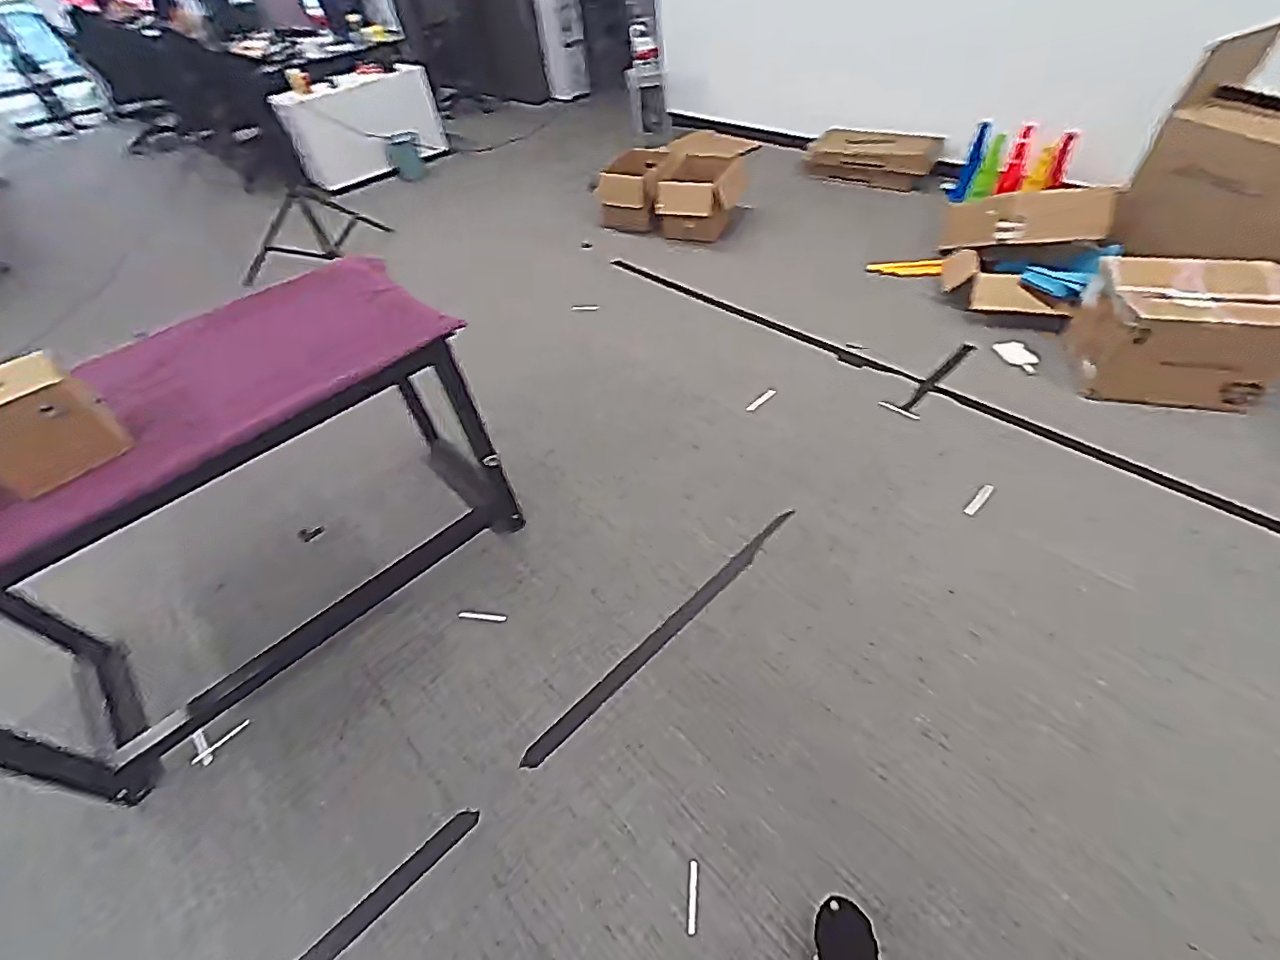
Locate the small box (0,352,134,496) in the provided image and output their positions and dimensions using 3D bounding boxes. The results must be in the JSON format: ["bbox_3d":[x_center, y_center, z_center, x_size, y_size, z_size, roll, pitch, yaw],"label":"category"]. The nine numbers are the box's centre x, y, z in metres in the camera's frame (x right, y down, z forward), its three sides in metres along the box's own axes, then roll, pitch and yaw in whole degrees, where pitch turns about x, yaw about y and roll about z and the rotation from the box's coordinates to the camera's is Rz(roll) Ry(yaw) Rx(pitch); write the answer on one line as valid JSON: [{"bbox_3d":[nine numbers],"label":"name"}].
[{"bbox_3d":[-1.102,-0.104,1.008,0.168,0.176,0.179,31,58,32],"label":"small box"}]
